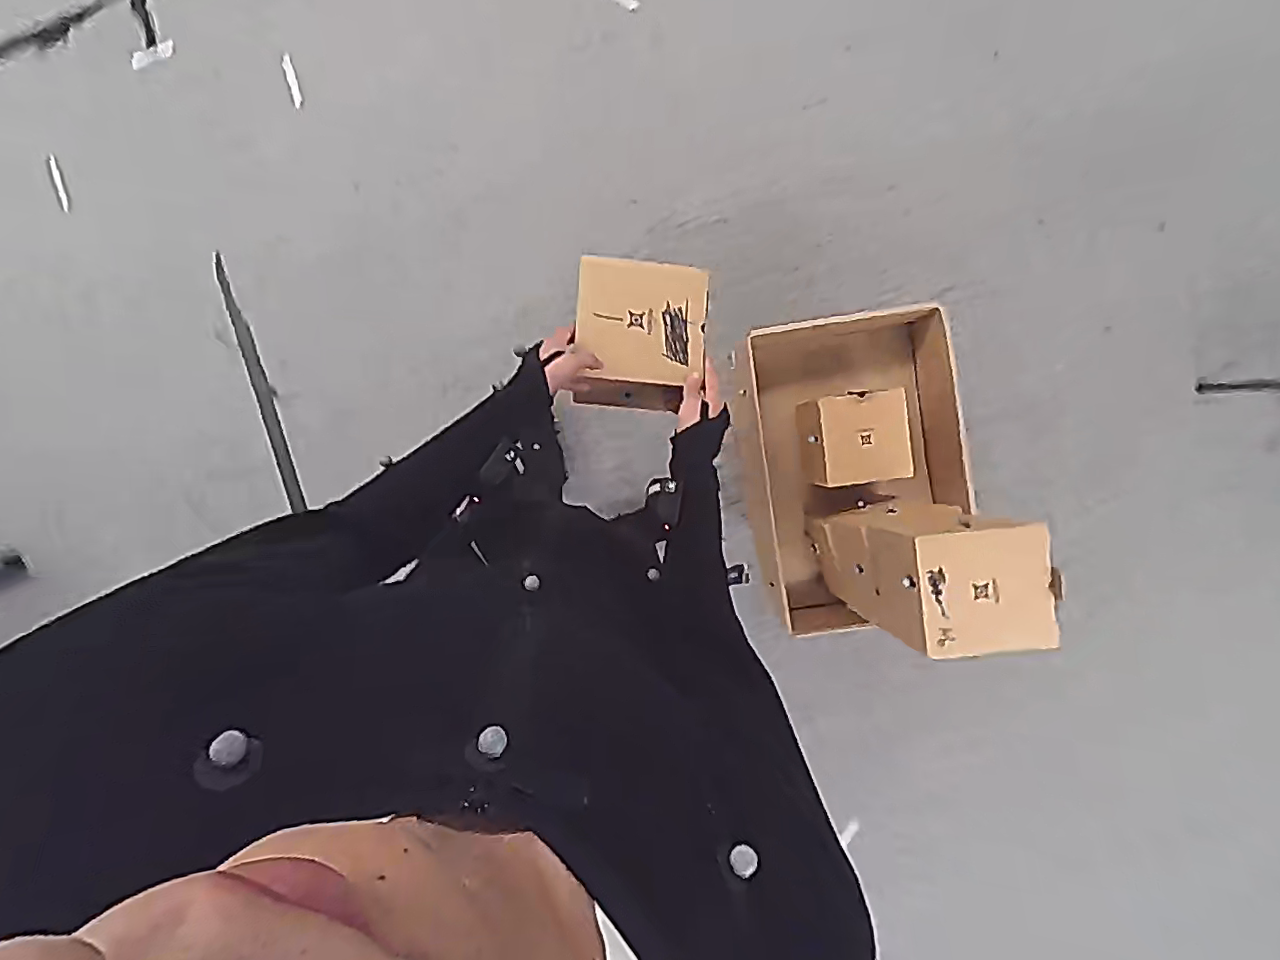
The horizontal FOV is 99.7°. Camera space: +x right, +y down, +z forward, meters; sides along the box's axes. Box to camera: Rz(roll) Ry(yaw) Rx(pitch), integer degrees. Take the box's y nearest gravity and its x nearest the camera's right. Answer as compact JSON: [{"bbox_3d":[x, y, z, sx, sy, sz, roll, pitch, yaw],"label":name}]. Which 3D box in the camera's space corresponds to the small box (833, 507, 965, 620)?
[{"bbox_3d":[0.453,0.145,0.942,0.168,0.176,0.179,-11,91,2],"label":"small box"}]

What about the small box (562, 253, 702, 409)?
[{"bbox_3d":[-0.017,-0.201,0.779,0.179,0.176,0.168,4,86,-5],"label":"small box"}]

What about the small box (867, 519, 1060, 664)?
[{"bbox_3d":[0.451,0.149,0.778,0.179,0.176,0.168,-5,90,1],"label":"small box"}]

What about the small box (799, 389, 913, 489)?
[{"bbox_3d":[0.431,-0.081,1.101,0.168,0.176,0.179,-7,92,2],"label":"small box"}]
